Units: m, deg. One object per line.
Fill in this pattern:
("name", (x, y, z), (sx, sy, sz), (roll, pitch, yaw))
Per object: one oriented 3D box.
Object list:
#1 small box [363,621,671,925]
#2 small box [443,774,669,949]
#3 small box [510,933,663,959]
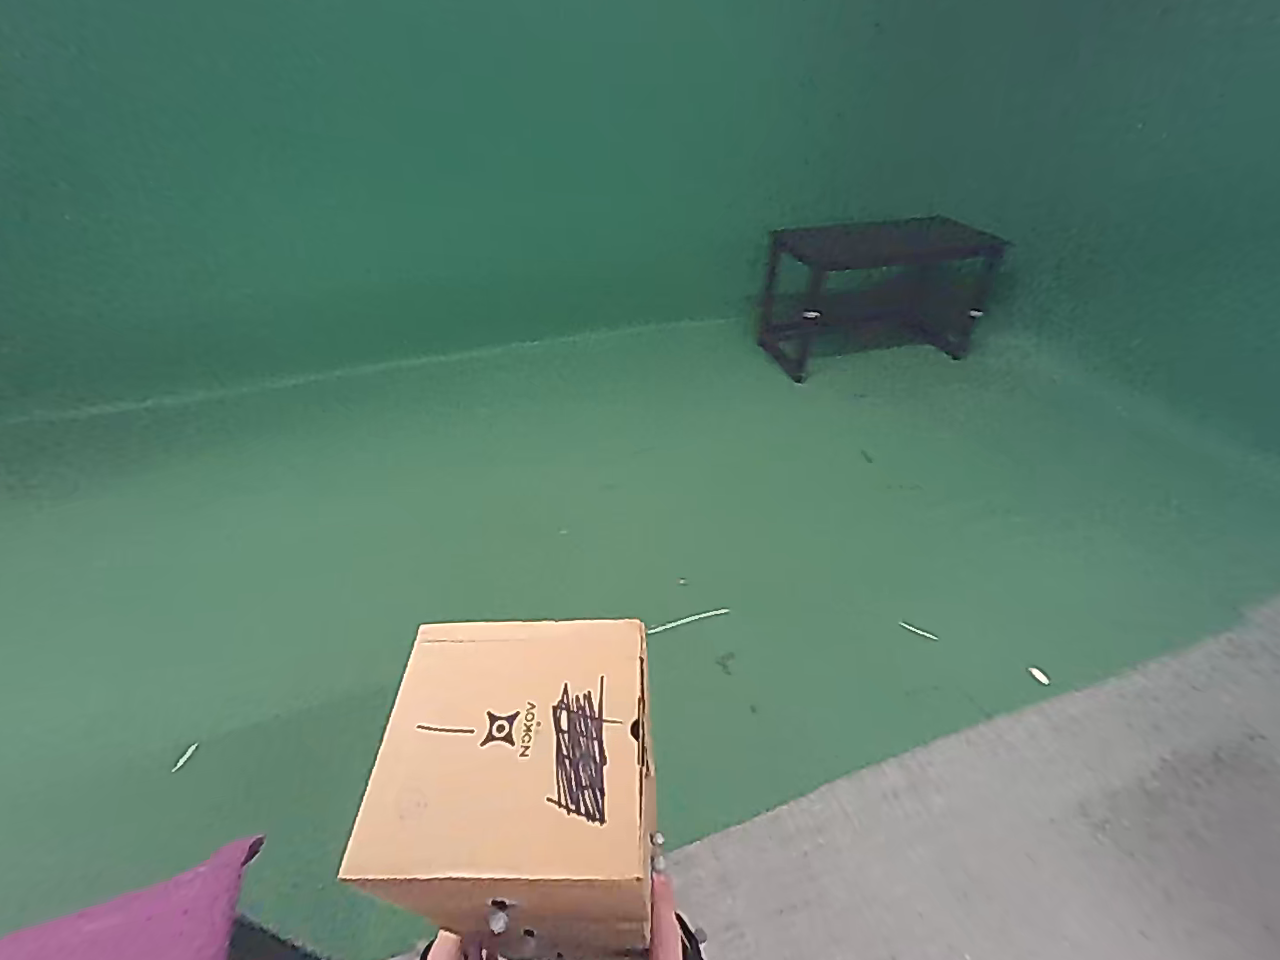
("small box", (-0.066, 0.224, 0.415), (0.179, 0.176, 0.168), (-1, 45, 3))
("small box", (-0.062, 0.343, 0.530), (0.179, 0.176, 0.168), (0, 46, 4))
("small box", (-0.058, 0.459, 0.643), (0.179, 0.176, 0.168), (3, 44, 4))
